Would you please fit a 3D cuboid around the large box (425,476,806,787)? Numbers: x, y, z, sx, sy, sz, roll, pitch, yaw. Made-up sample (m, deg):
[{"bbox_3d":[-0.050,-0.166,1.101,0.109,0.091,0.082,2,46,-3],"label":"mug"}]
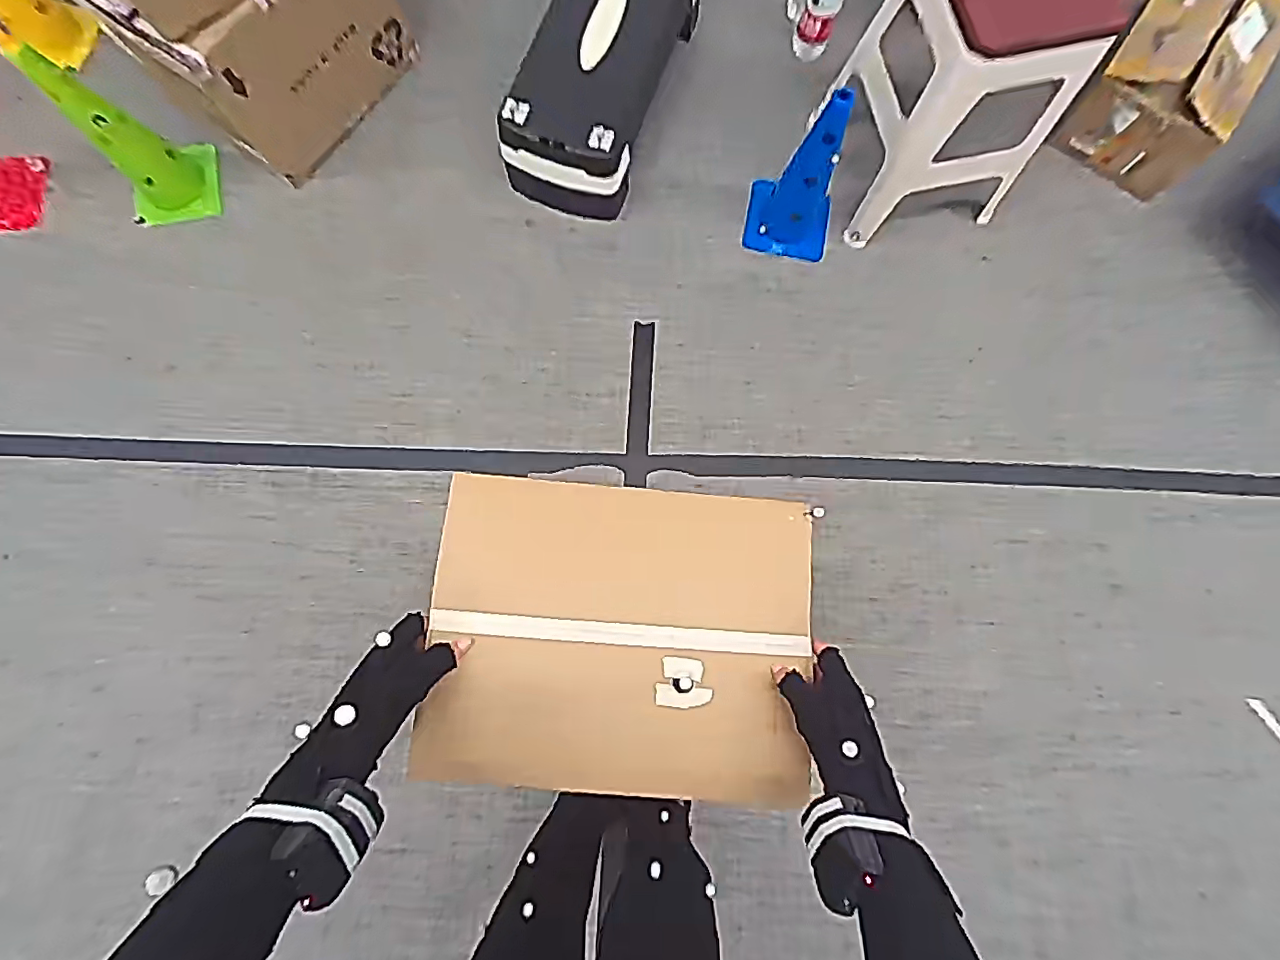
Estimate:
[{"bbox_3d":[-0.025,0.192,0.734,0.408,0.320,0.320,5,78,-3],"label":"large box"}]
